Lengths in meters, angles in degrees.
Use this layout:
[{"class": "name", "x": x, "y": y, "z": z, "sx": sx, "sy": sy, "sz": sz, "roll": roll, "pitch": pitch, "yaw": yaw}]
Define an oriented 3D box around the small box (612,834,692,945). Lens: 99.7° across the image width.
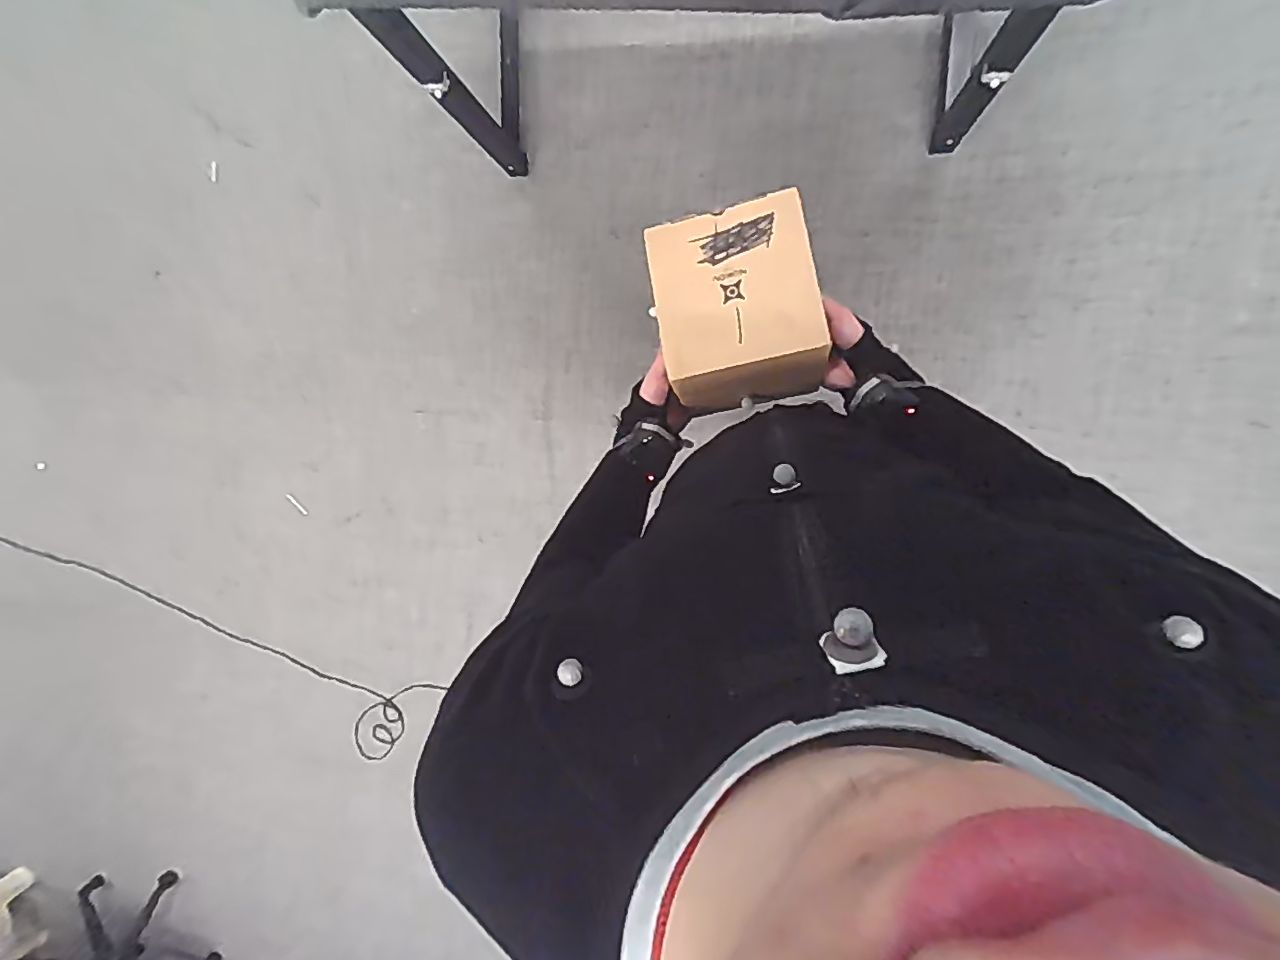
[{"class": "small box", "x": 0.045, "y": 1.229, "z": 1.637, "sx": 0.179, "sy": 0.176, "sz": 0.168, "roll": -44, "pitch": 87, "yaw": 13}]
